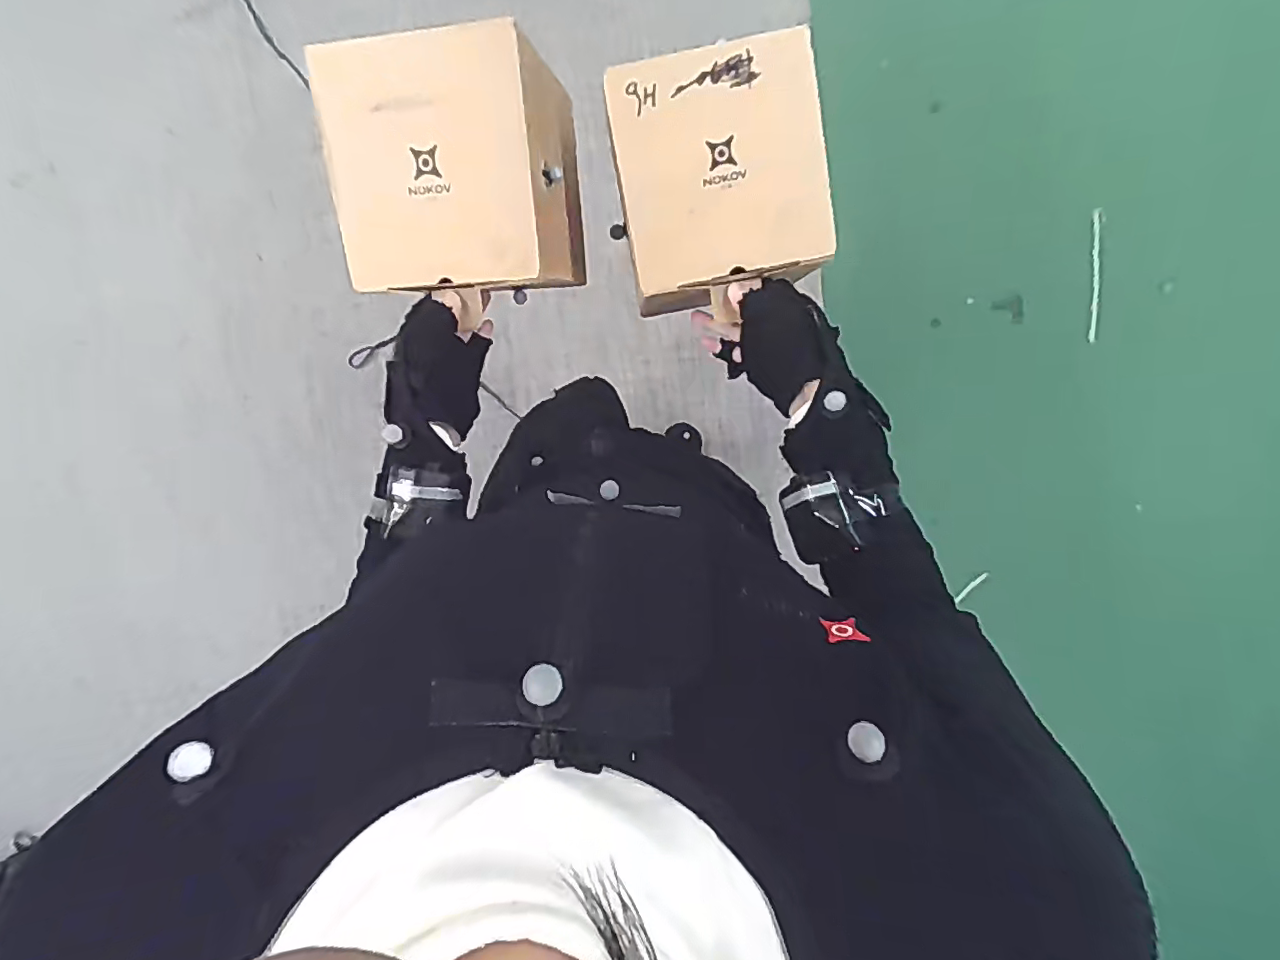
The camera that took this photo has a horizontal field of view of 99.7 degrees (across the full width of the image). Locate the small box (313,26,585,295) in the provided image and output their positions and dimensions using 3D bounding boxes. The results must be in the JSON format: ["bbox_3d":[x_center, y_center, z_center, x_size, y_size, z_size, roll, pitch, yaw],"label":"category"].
[{"bbox_3d":[-0.153,-0.269,0.502,0.168,0.176,0.179,-1,108,9],"label":"small box"}]

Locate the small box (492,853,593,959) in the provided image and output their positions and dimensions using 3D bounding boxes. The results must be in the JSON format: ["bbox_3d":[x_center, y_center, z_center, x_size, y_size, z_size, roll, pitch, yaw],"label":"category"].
[{"bbox_3d":[-0.209,0.968,1.201,0.179,0.176,0.168,-6,93,4],"label":"small box"}]
